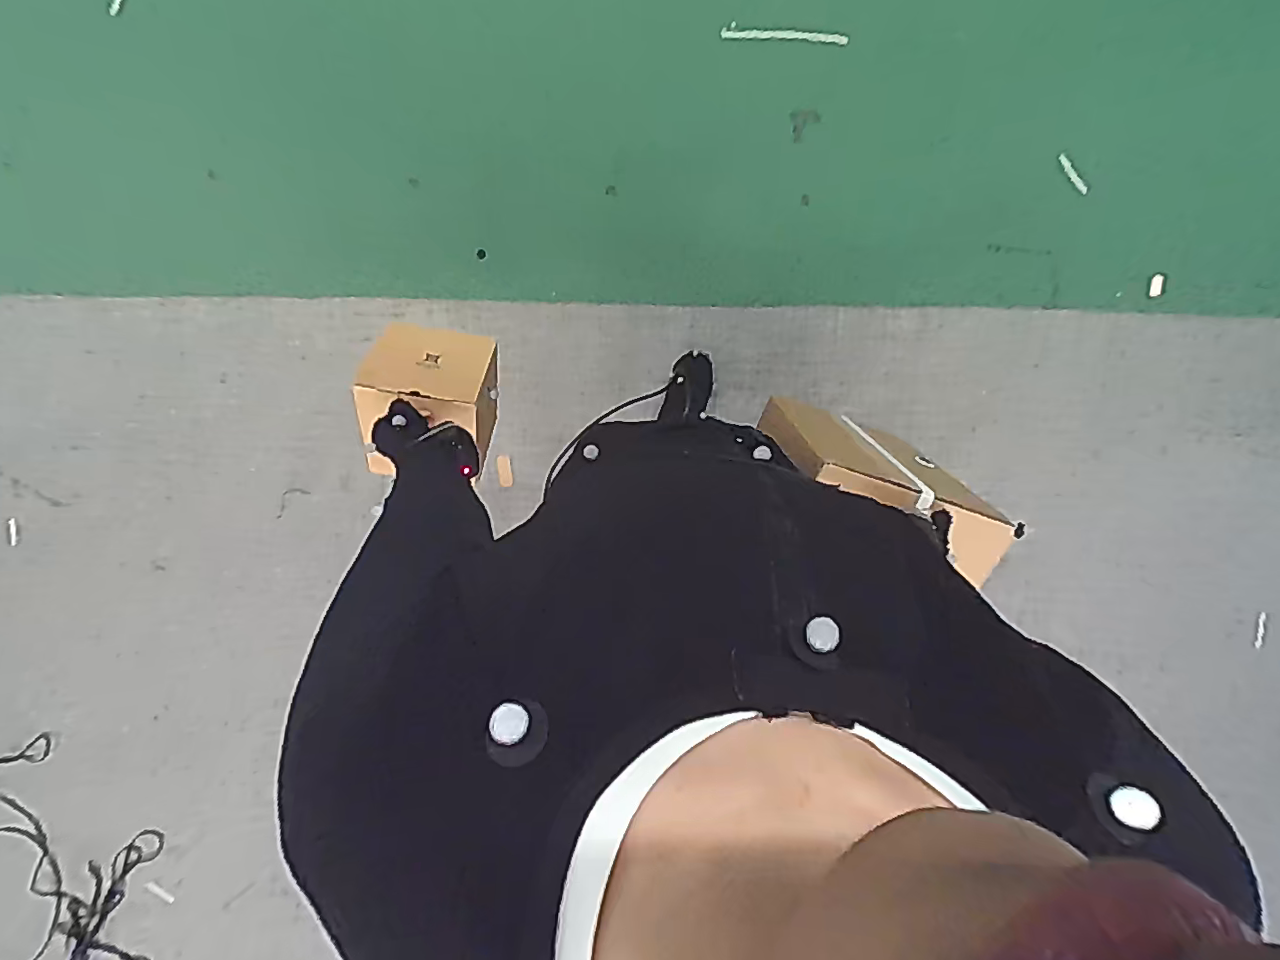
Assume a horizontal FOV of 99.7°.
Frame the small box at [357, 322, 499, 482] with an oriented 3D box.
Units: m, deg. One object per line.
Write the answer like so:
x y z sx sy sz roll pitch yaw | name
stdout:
-0.323 -0.123 0.861 0.168 0.179 0.176 7 134 -8 | small box
